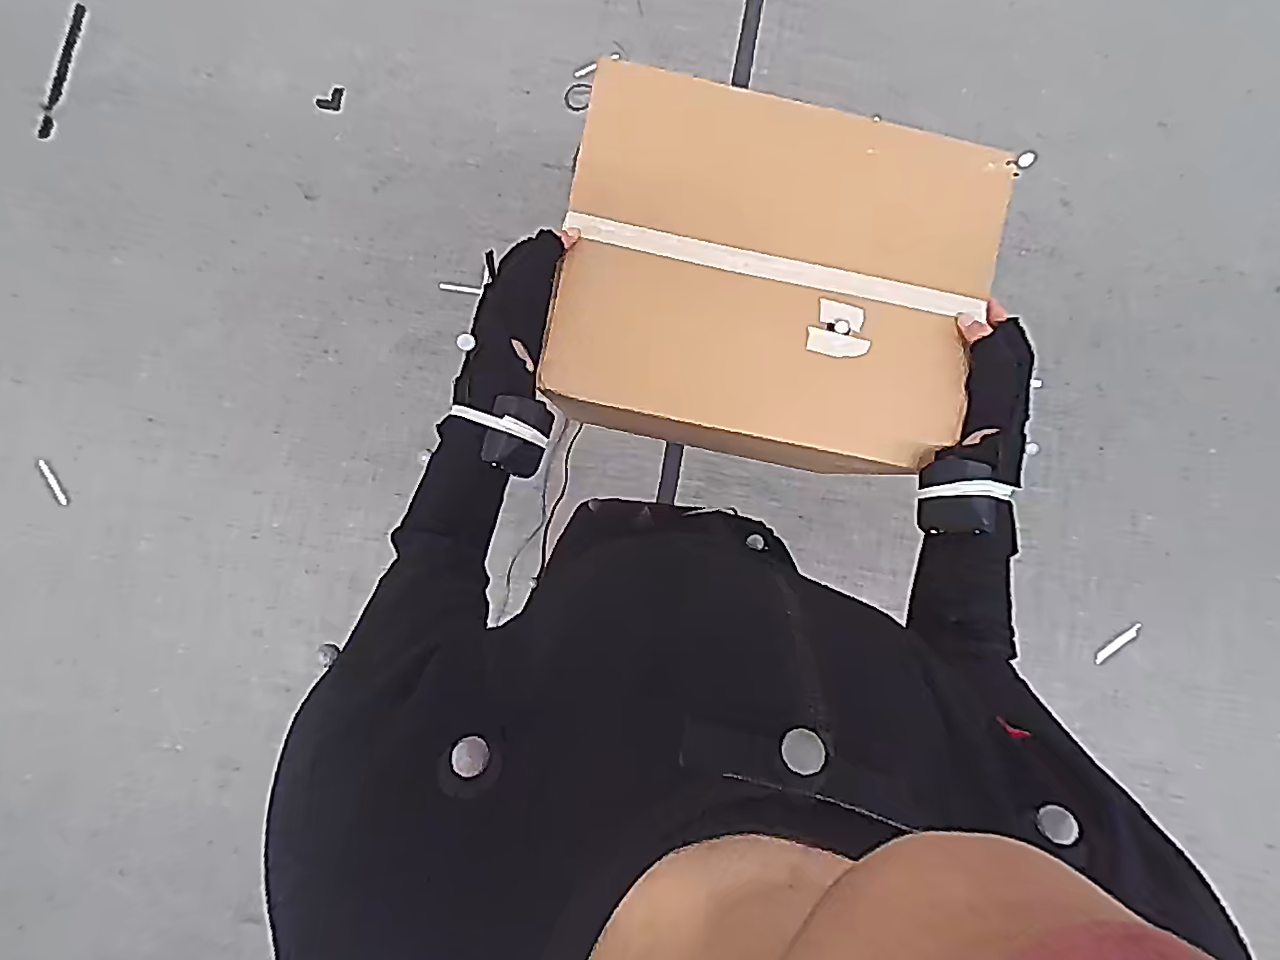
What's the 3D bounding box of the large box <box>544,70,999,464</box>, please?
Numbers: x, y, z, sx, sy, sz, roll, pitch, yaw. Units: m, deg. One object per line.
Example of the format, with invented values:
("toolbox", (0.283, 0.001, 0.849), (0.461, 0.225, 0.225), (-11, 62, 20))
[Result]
("large box", (0.121, -0.207, 0.670), (0.408, 0.320, 0.320), (12, 92, -3))
